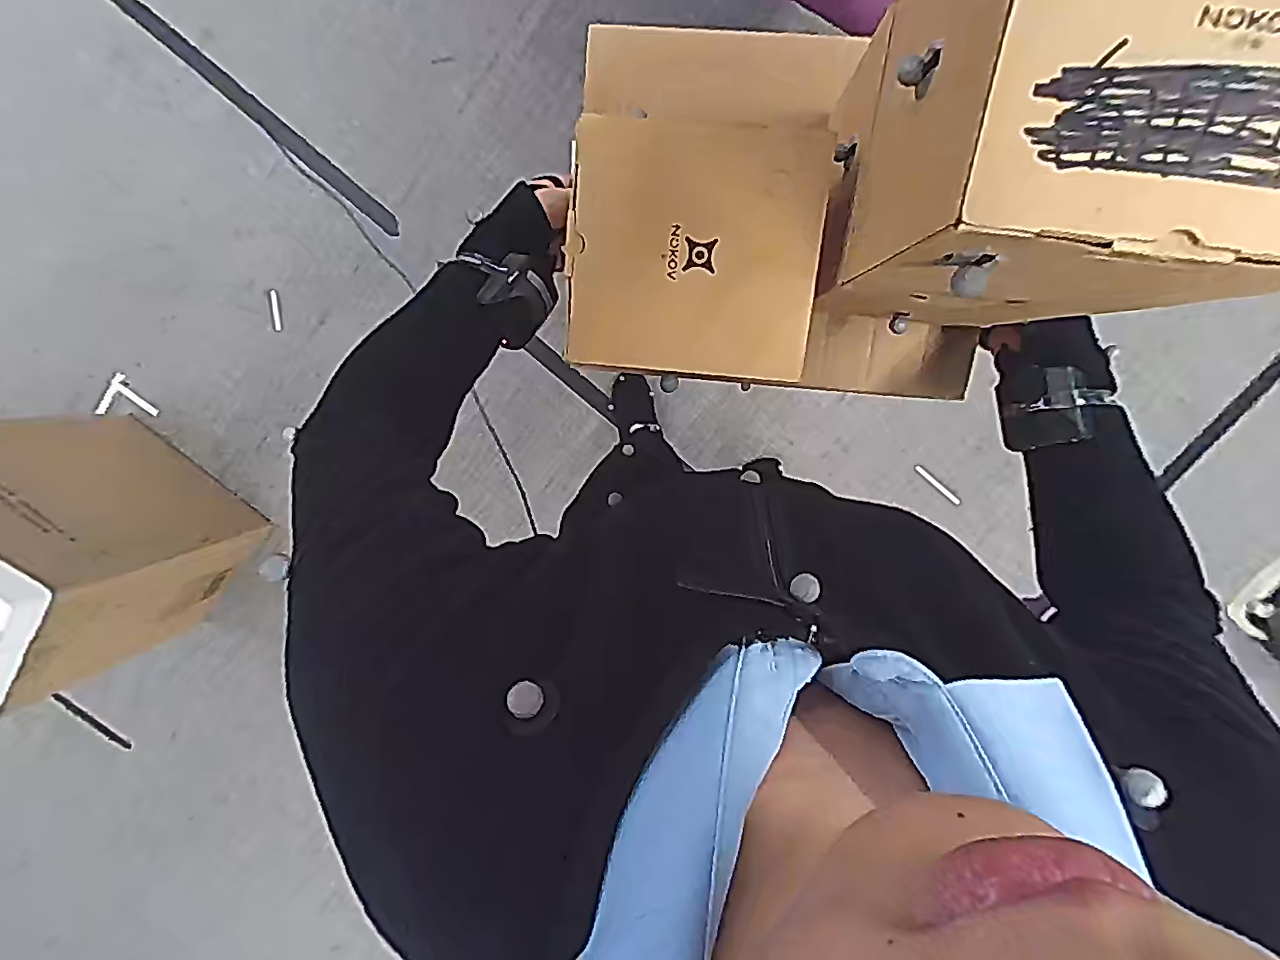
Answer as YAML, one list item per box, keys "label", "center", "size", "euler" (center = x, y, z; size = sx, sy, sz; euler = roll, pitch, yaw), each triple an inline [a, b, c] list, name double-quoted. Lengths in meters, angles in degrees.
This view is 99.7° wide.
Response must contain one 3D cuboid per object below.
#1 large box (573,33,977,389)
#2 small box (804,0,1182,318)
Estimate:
- label: "large box"
  center: [0.149, -0.285, 0.664]
  size: [0.408, 0.320, 0.320]
  euler: [4, 102, 4]
- label: "small box"
  center: [0.235, -0.230, 0.416]
  size: [0.168, 0.176, 0.179]
  euler: [8, 103, 4]
